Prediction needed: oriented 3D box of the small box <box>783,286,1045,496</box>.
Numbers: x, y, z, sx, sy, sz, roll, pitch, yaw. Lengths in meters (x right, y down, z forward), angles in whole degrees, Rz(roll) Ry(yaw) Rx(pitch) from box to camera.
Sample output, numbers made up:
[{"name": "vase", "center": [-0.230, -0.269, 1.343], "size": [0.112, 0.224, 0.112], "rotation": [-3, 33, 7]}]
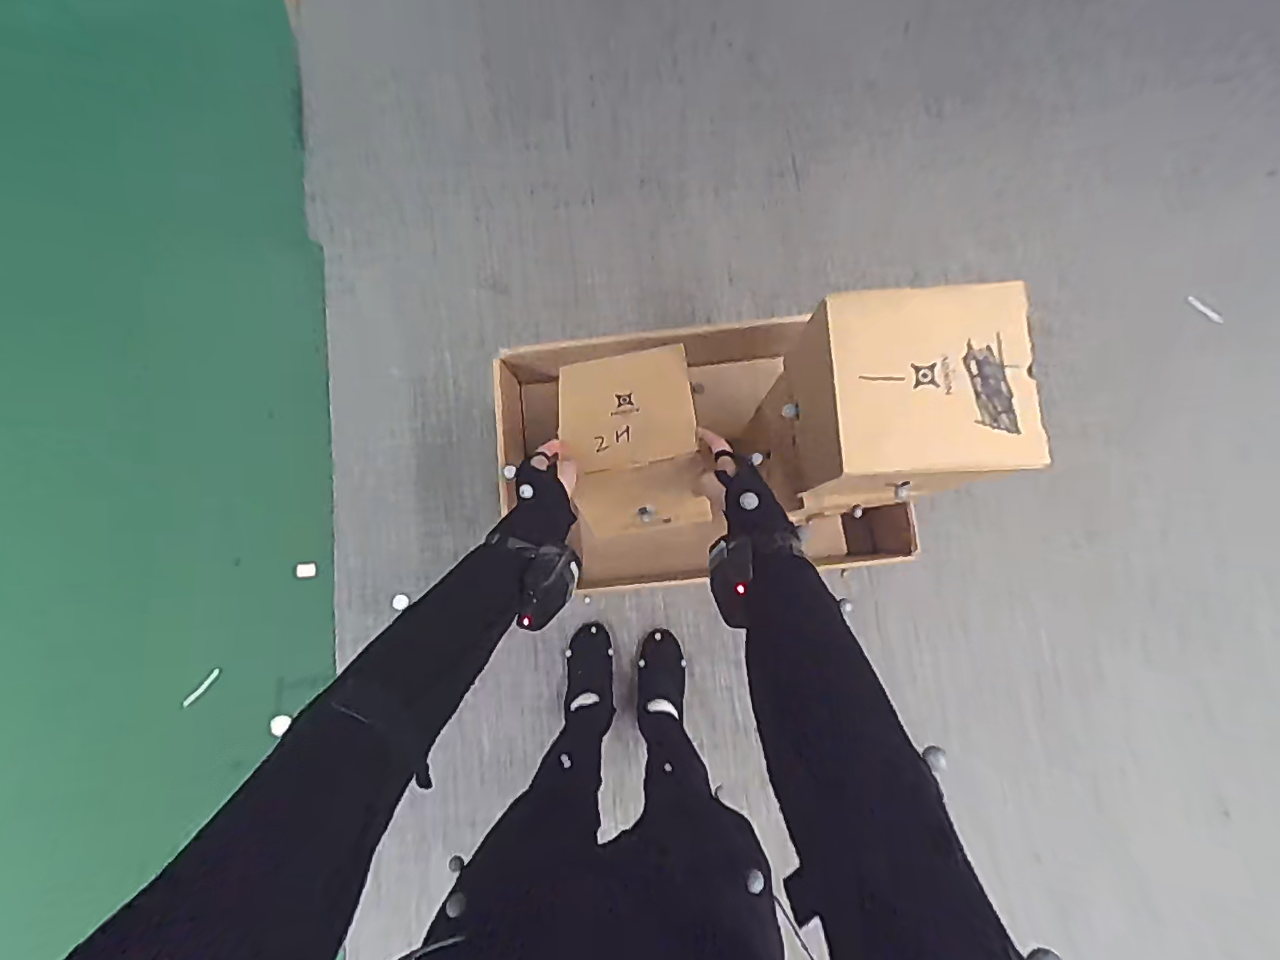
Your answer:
[{"name": "small box", "center": [0.254, -0.076, 0.545], "size": [0.179, 0.176, 0.168], "rotation": [-3, 81, 3]}]

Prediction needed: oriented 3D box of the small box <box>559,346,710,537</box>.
[{"name": "small box", "center": [-0.003, -0.046, 0.718], "size": [0.168, 0.176, 0.179], "rotation": [-9, 57, 7]}]
